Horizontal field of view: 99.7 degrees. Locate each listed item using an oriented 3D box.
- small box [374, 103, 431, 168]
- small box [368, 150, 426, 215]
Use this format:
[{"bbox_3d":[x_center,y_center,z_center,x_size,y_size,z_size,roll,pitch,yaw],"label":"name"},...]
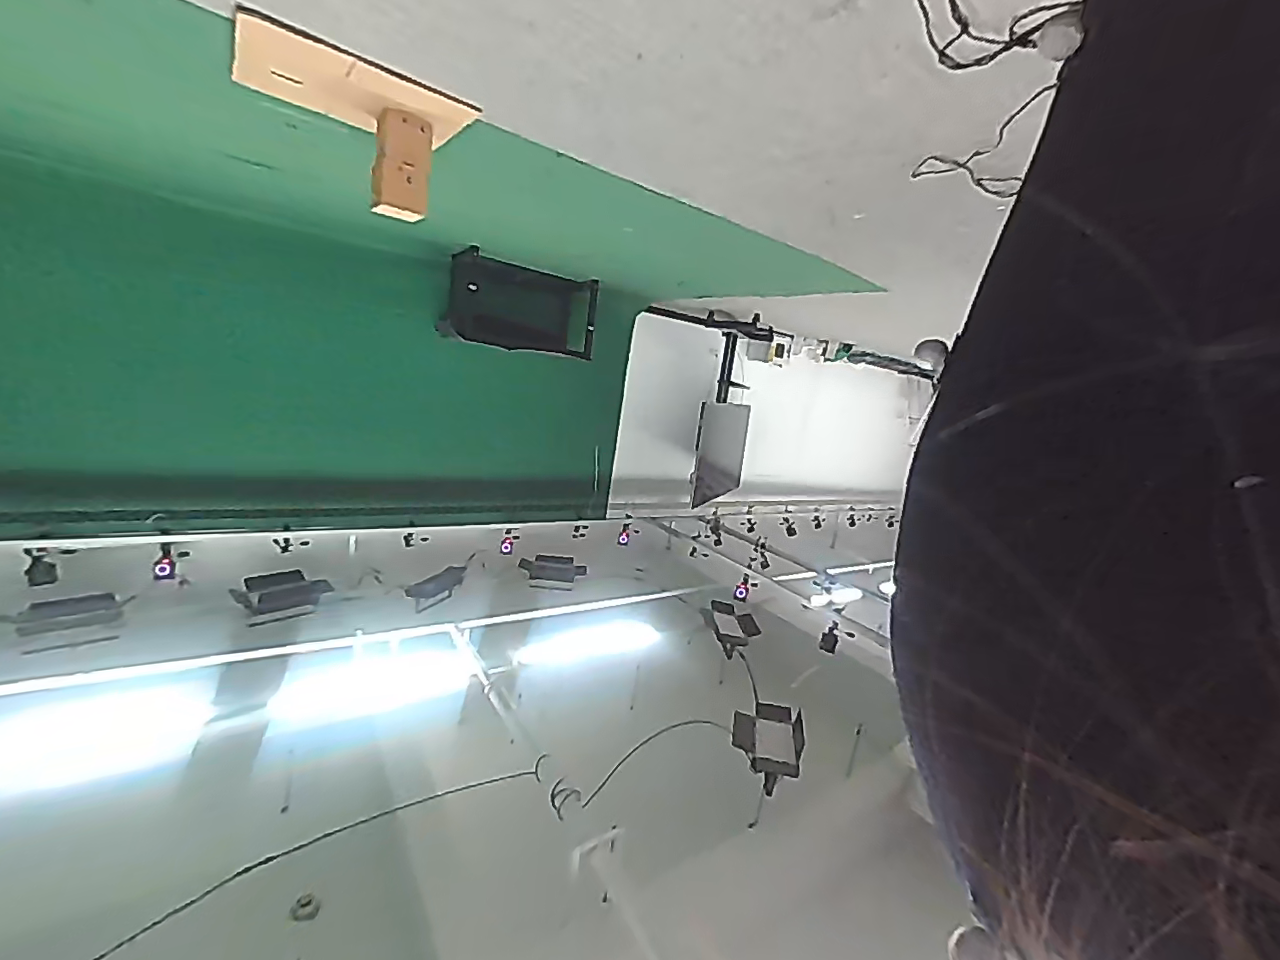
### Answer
[{"bbox_3d":[-0.915,-1.316,2.080,0.168,0.176,0.179,-1,-164,-39],"label":"small box"},{"bbox_3d":[-0.951,-1.161,2.117,0.168,0.176,0.179,-1,-165,-40],"label":"small box"}]
